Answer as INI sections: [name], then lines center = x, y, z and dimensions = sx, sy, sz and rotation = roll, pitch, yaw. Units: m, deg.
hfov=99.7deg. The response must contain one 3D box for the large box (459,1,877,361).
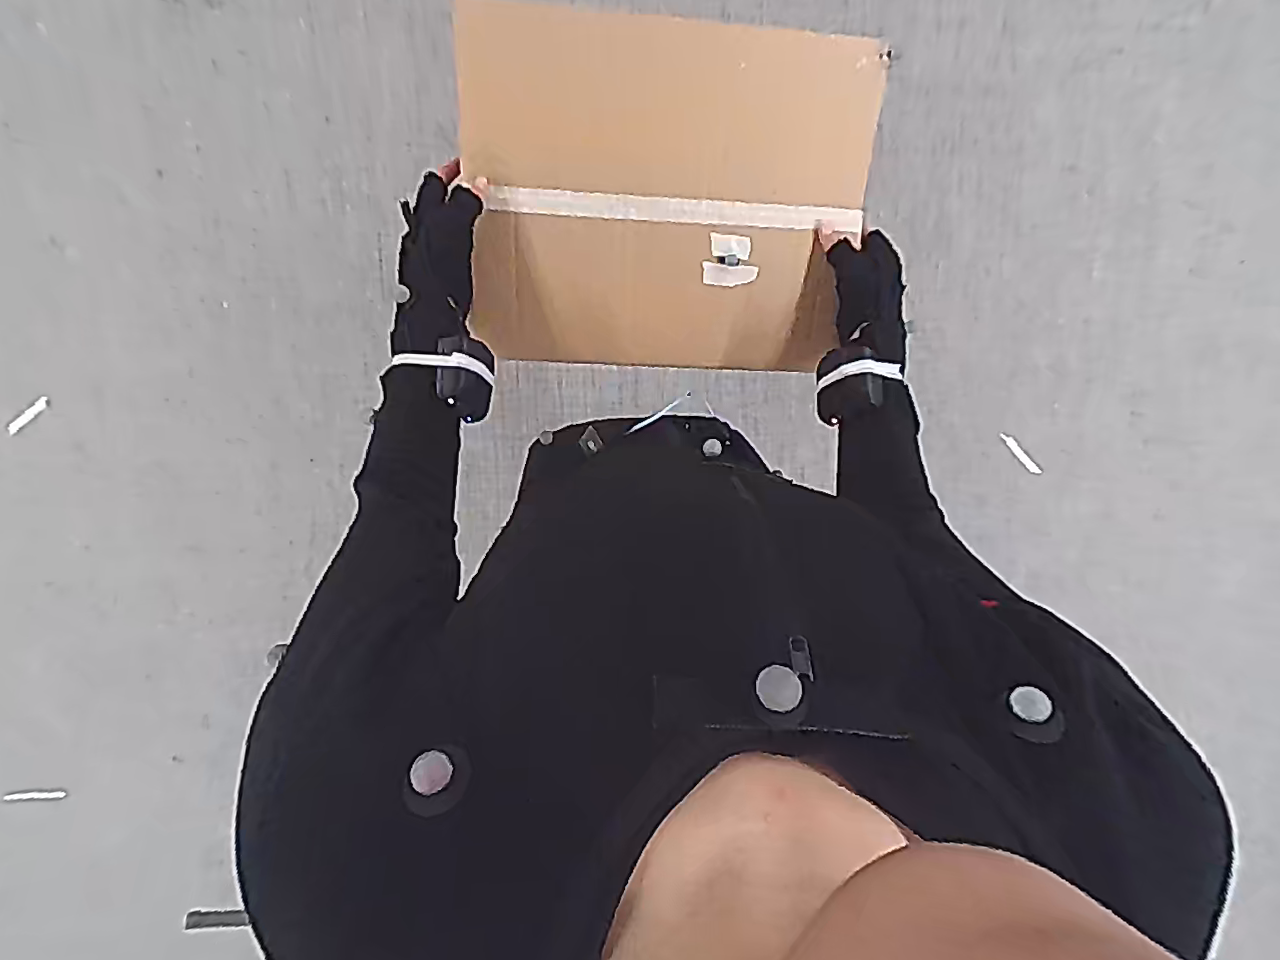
[large box]
center = 0.012, -0.332, 0.692
dimensions = 0.408, 0.320, 0.320
rotation = 1, 111, -6
